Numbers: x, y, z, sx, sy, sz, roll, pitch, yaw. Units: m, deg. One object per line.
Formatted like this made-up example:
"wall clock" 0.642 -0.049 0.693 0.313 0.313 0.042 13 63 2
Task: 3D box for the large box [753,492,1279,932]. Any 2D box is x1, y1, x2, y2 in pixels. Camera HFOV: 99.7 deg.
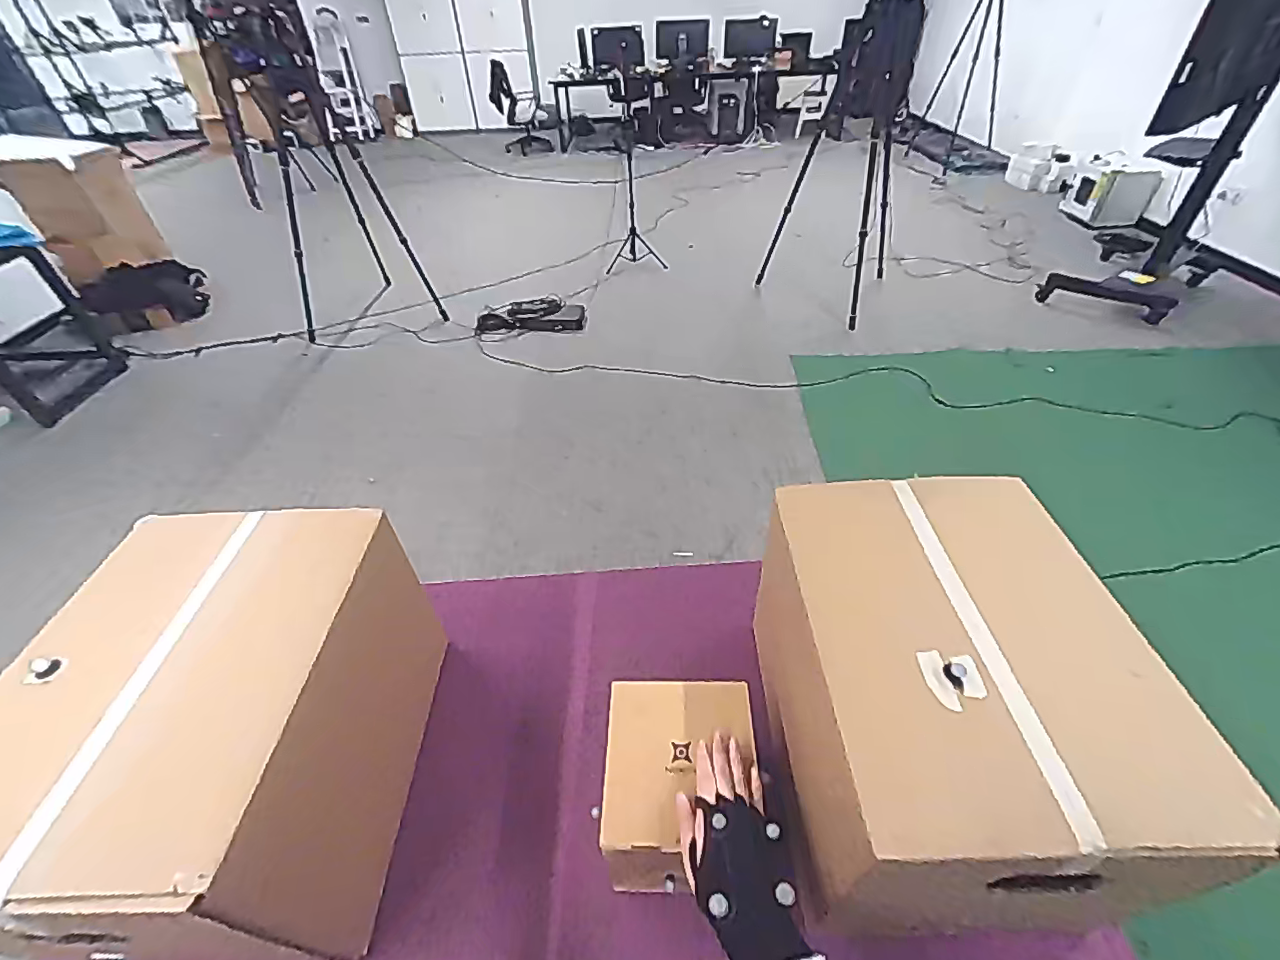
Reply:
"large box" 0.336 0.261 0.650 0.320 0.320 0.408 -1 42 1
